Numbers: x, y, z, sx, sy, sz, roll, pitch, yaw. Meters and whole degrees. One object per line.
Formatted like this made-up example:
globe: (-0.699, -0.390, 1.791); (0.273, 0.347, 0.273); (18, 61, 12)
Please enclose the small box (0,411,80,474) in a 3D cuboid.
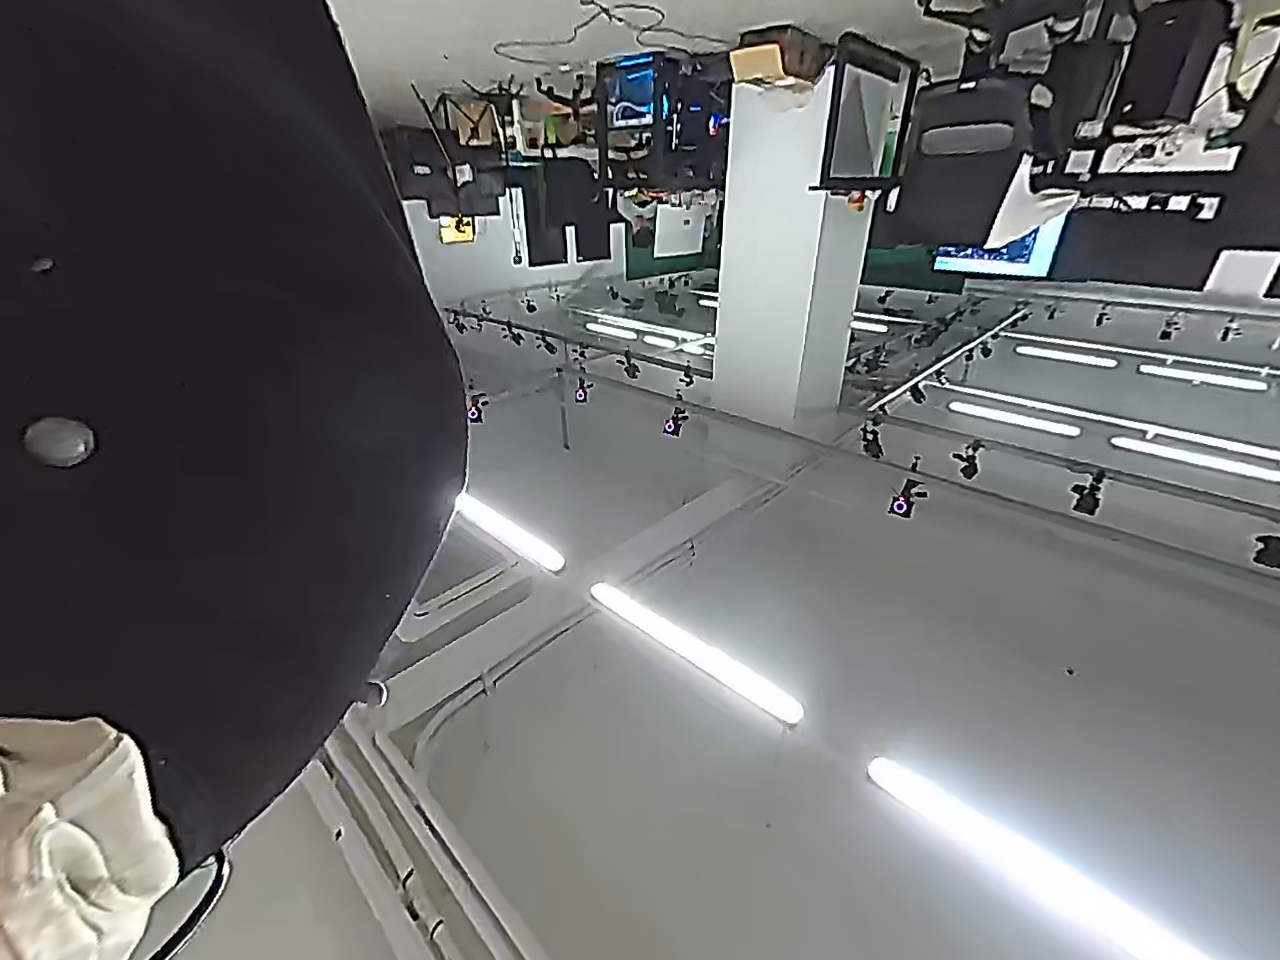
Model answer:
small box: (-2.239, -0.147, 2.007); (0.179, 0.176, 0.168); (23, -144, 37)
